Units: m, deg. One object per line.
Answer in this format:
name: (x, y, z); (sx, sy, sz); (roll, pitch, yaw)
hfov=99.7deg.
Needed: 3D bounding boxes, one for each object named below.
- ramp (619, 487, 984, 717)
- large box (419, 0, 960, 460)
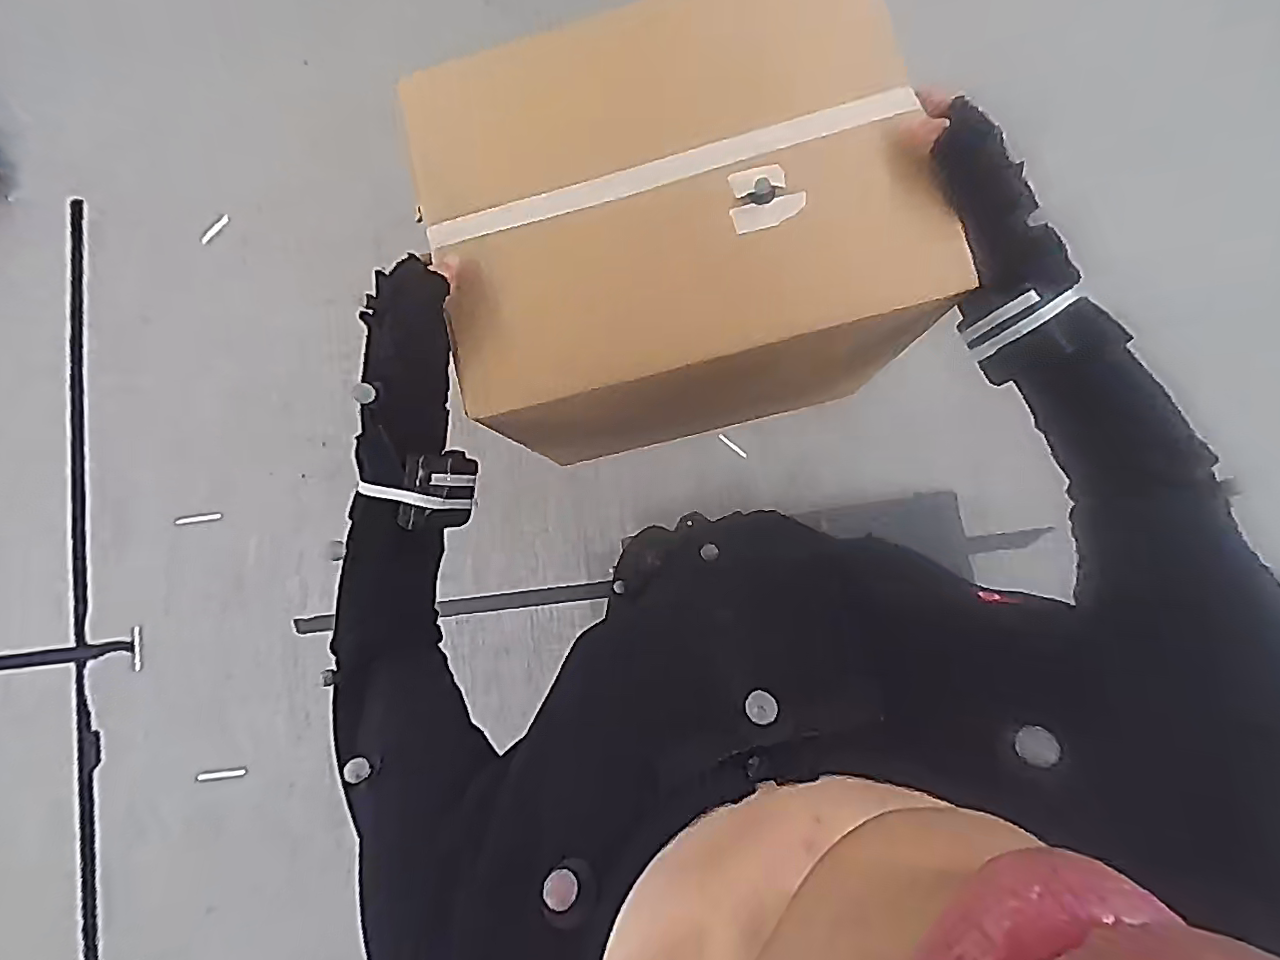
ramp: (0.463, 0.320, 1.524); (0.991, 0.206, 0.509); (-11, 81, 3)
large box: (0.038, -0.236, 0.599); (0.408, 0.320, 0.320); (-14, 83, 3)
